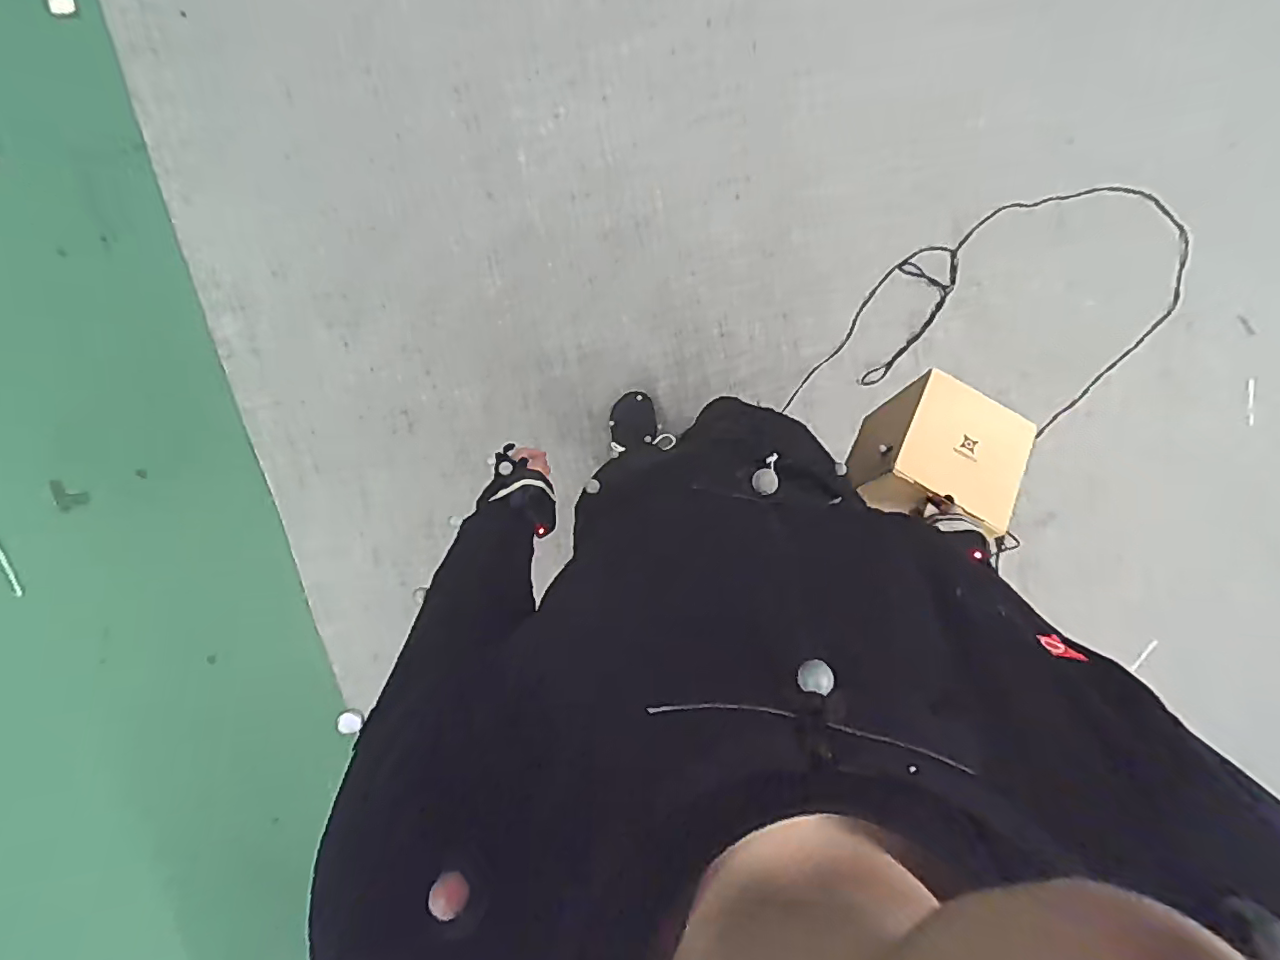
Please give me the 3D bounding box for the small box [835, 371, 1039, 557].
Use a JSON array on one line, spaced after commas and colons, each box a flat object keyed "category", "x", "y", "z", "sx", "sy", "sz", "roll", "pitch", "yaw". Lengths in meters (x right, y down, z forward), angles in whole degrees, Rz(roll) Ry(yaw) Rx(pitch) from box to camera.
[{"category": "small box", "x": 0.407, "y": -0.013, "z": 0.763, "sx": 0.168, "sy": 0.176, "sz": 0.179, "roll": 30, "pitch": 70, "yaw": 0}]
